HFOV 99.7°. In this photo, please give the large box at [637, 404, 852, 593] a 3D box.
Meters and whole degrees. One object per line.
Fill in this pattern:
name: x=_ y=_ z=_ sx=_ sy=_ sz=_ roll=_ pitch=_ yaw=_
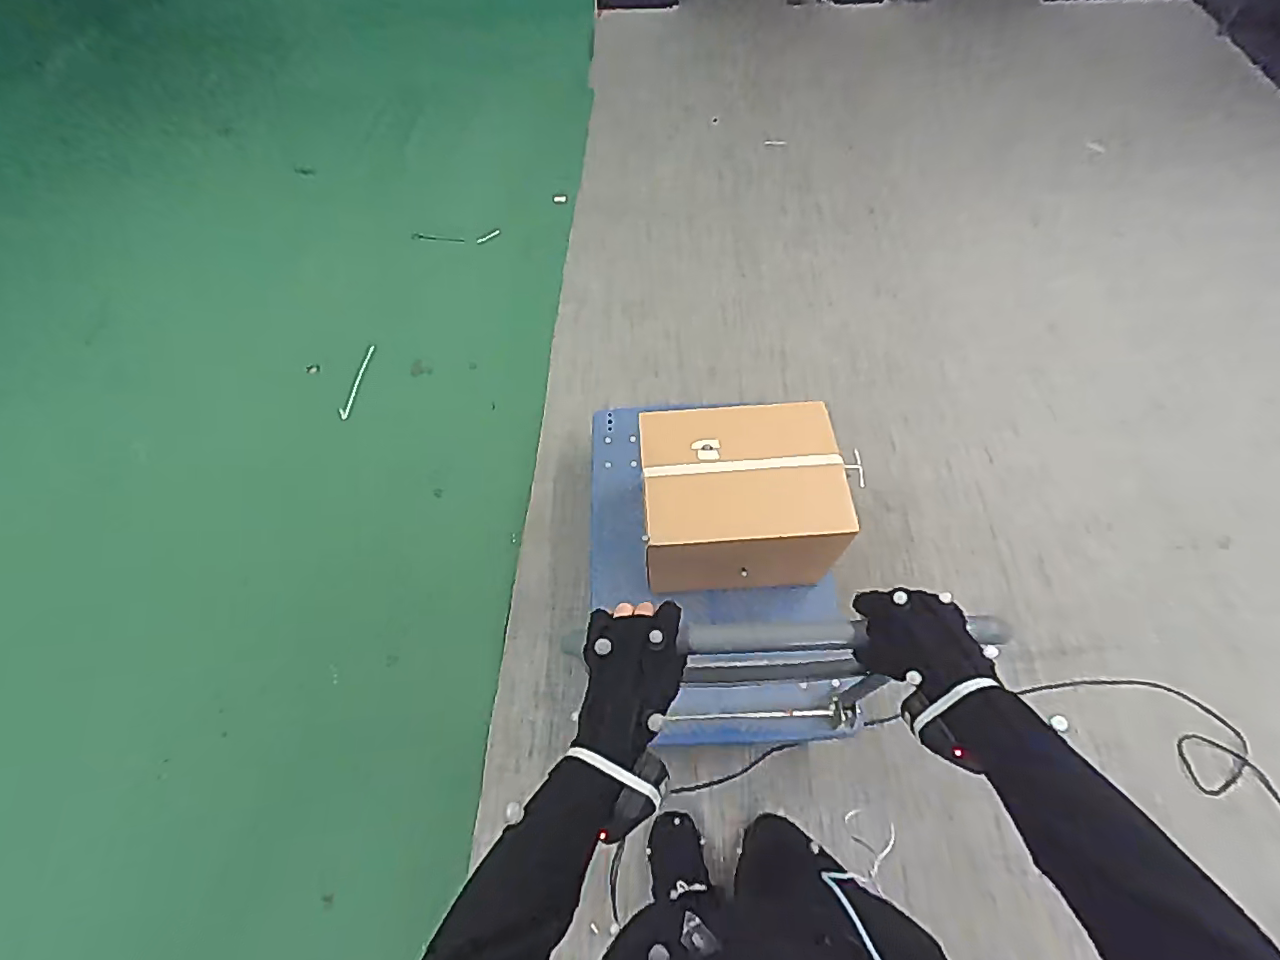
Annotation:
large box: x=0.211 y=0.055 z=1.239 sx=0.408 sy=0.320 sz=0.320 roll=-5 pitch=60 yaw=1
